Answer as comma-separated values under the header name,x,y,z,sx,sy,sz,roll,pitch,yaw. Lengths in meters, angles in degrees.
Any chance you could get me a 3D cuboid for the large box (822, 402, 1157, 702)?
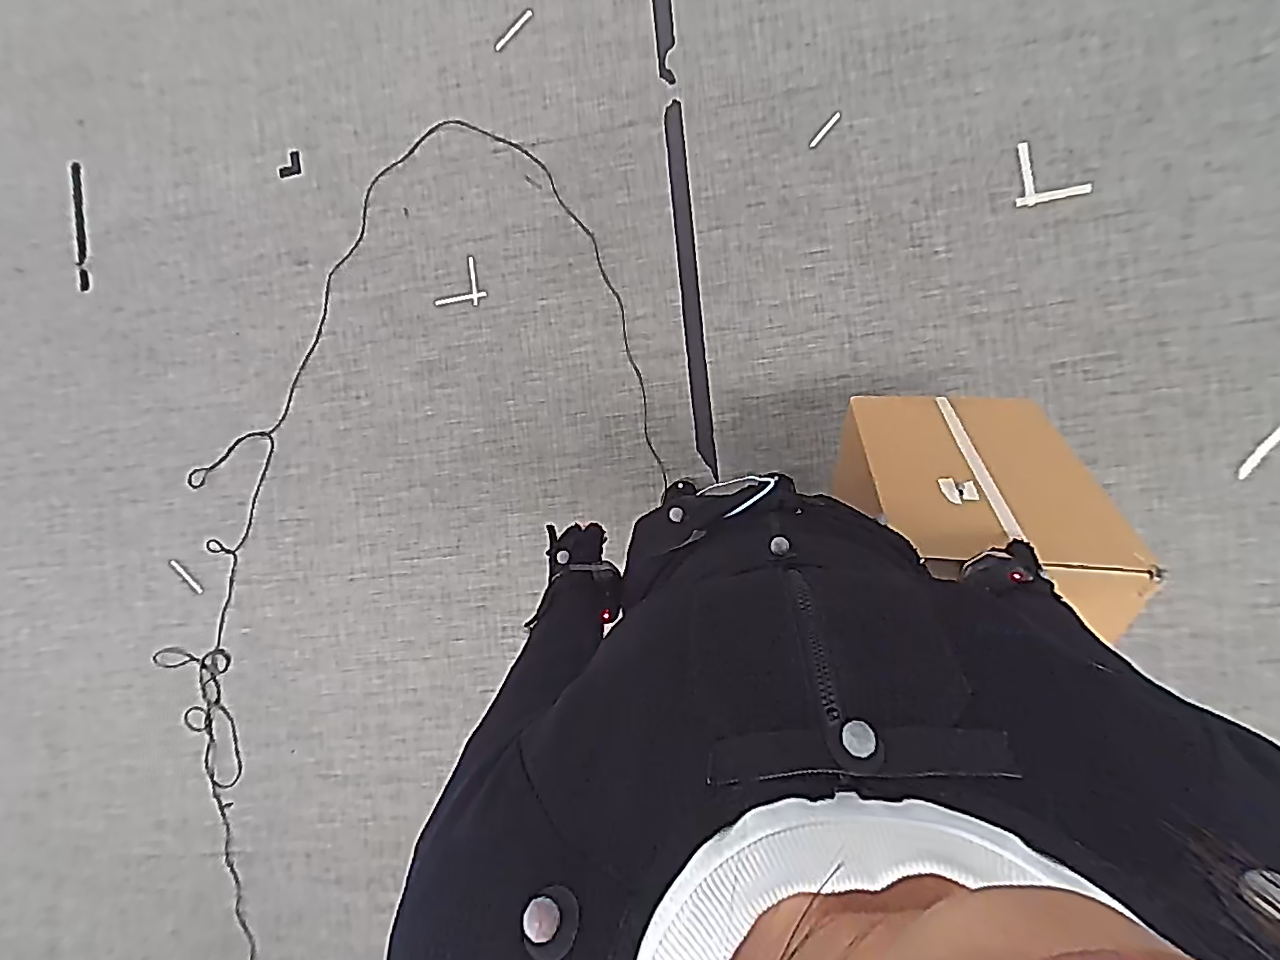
name,x,y,z,sx,sy,sz,roll,pitch,yaw
large box,0.518,0.105,0.928,0.320,0.408,0.320,2,130,9
